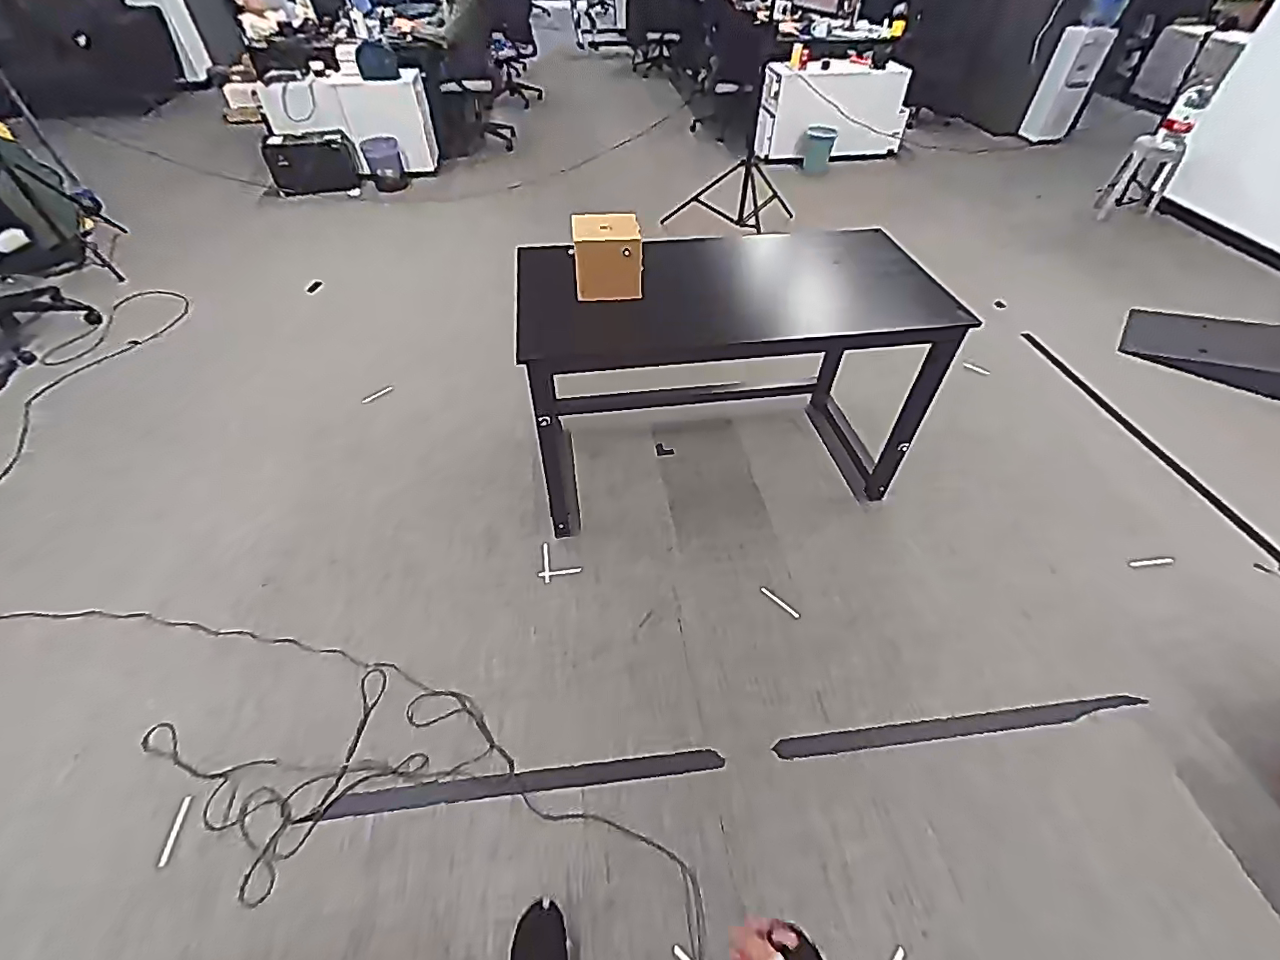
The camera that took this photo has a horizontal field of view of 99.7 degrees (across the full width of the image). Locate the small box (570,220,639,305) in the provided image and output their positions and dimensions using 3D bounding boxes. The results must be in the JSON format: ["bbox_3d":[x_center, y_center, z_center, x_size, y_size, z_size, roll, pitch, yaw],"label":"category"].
[{"bbox_3d":[-0.096,-0.596,1.491,0.179,0.176,0.168,-4,48,-6],"label":"small box"}]
